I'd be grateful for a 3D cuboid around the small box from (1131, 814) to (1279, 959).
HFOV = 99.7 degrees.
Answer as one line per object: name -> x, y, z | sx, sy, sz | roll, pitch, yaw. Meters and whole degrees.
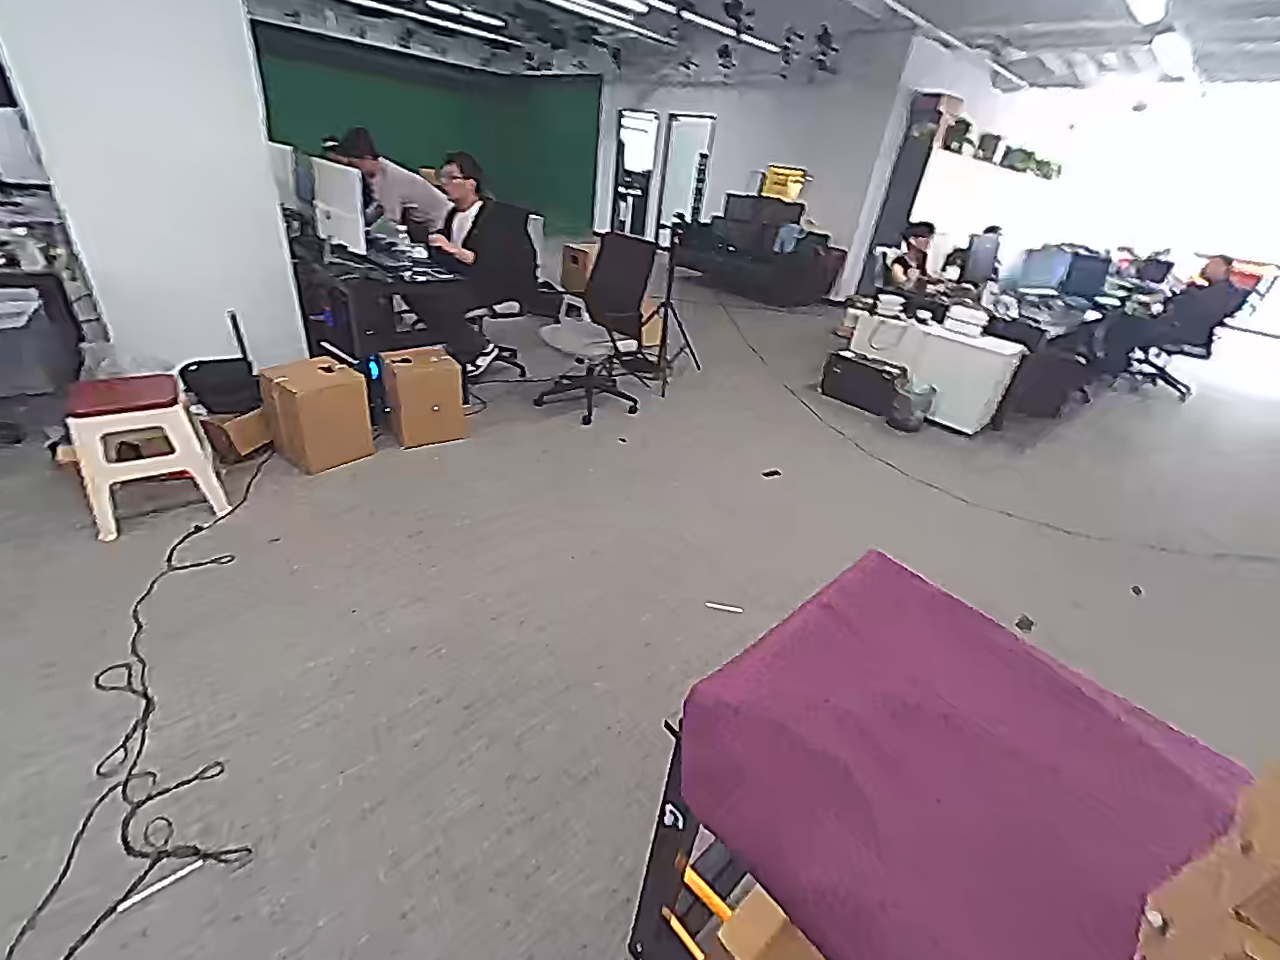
small box -> 0.589, 0.458, 0.477 | 0.168, 0.176, 0.179 | -19, 39, -39
